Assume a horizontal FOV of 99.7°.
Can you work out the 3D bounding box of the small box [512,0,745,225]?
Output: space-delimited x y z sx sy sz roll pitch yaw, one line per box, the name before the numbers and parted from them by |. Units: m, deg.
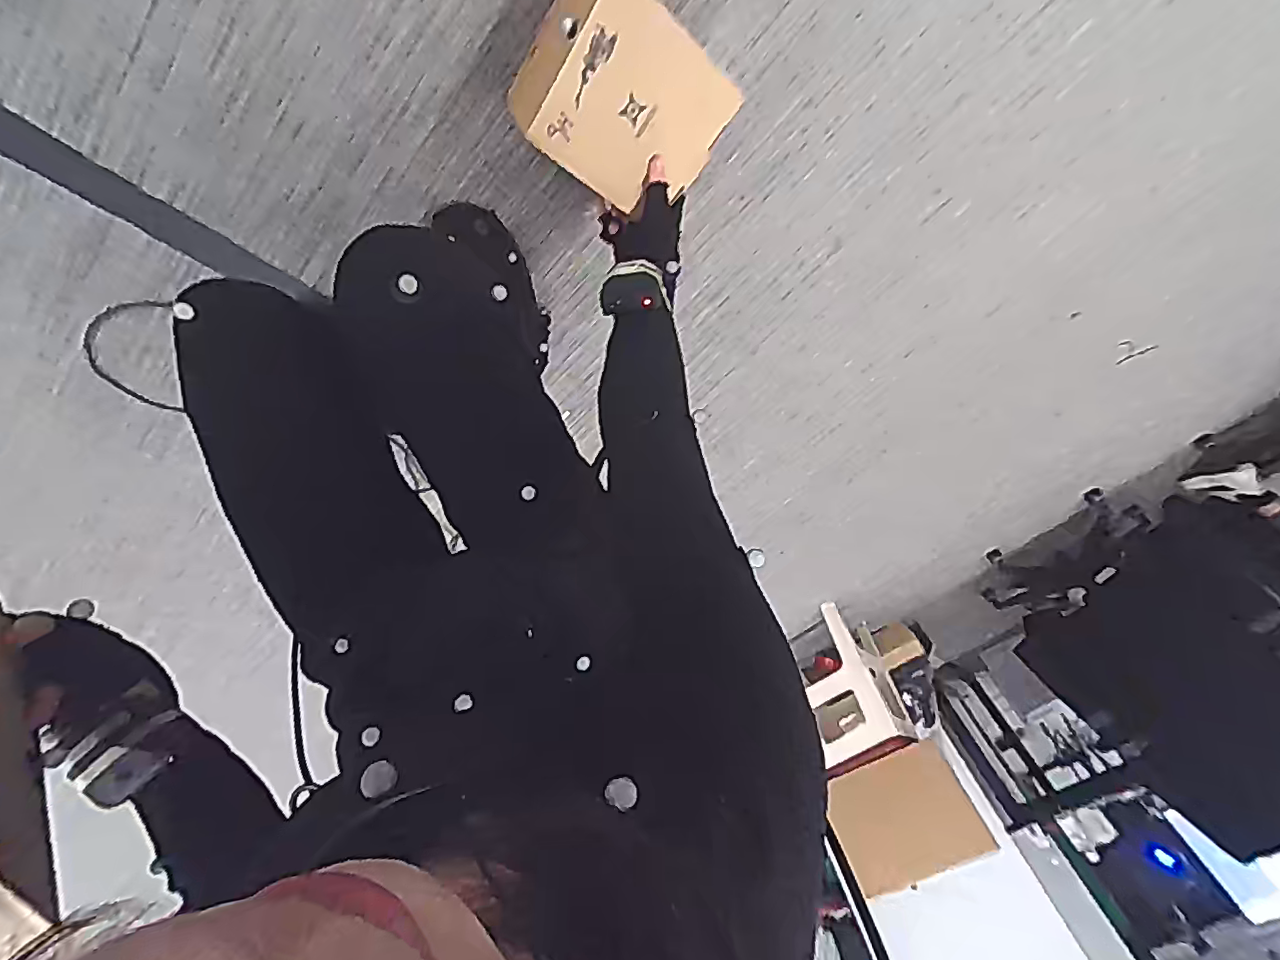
small box | -0.022 -0.432 0.601 0.179 0.176 0.168 20 125 -37
